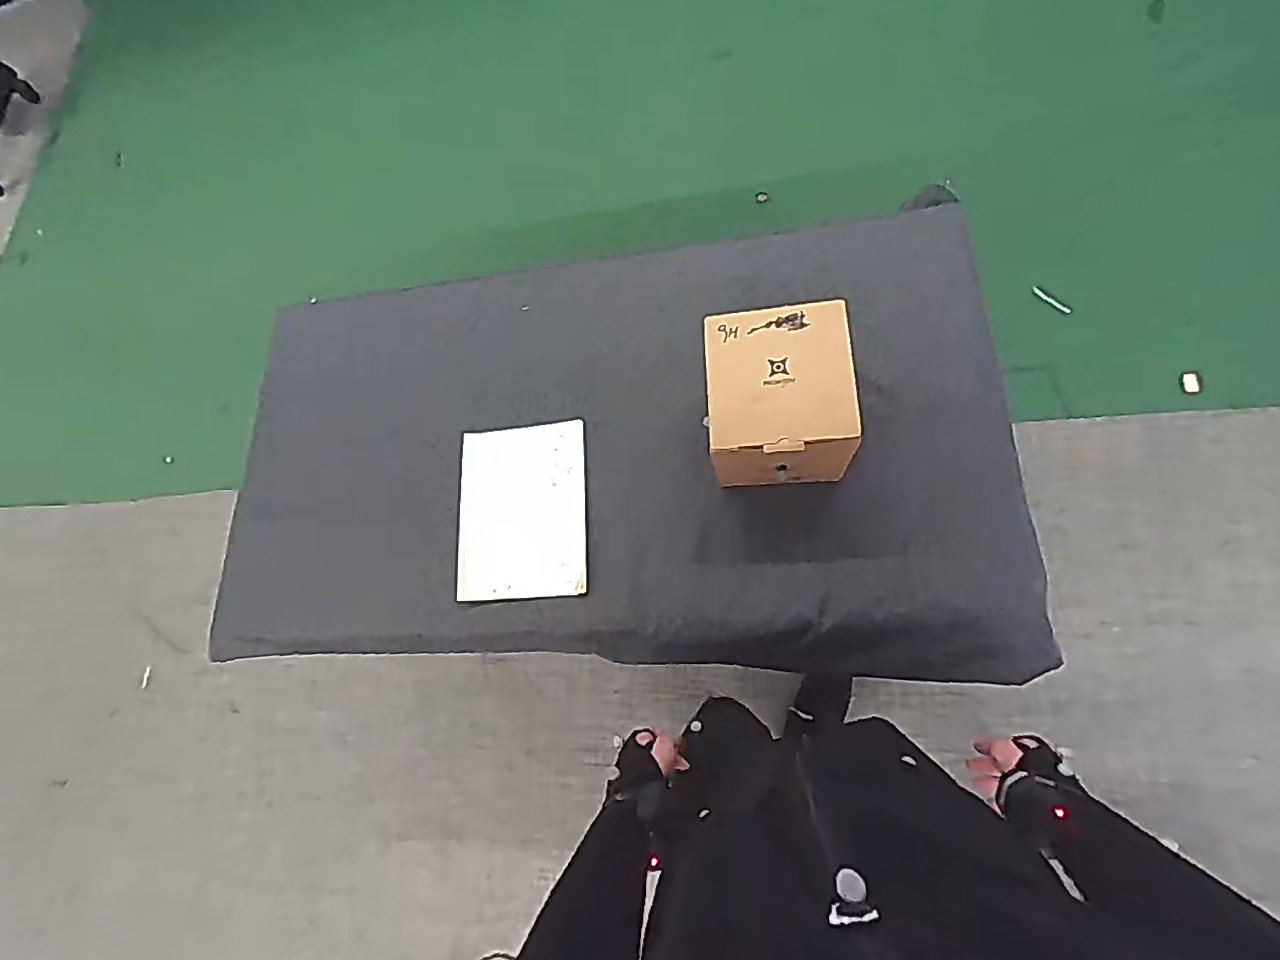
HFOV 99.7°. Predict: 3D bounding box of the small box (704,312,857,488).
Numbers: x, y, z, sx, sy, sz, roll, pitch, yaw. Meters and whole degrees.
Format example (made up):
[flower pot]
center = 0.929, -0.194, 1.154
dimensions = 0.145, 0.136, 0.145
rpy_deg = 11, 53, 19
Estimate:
[small box]
center = 0.176, -0.089, 0.700
dimensions = 0.168, 0.176, 0.179
rpy_deg = -4, 75, 11
